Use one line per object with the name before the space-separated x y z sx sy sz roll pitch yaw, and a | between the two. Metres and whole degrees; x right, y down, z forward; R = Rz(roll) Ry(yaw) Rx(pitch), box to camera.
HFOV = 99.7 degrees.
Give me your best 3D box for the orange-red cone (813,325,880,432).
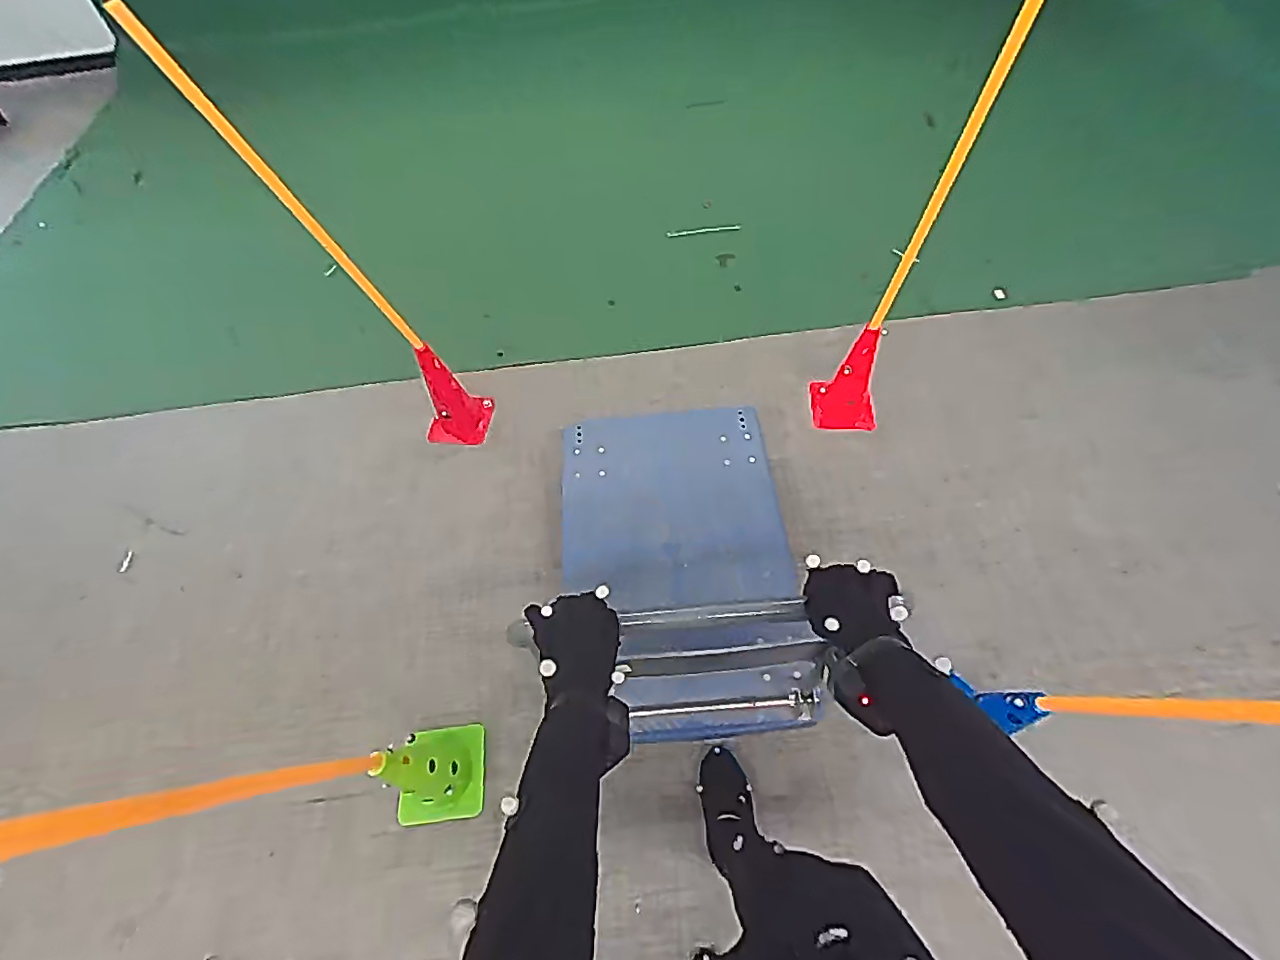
orange-red cone | 0.664 -0.326 1.649 0.198 0.360 0.199 2 60 7
